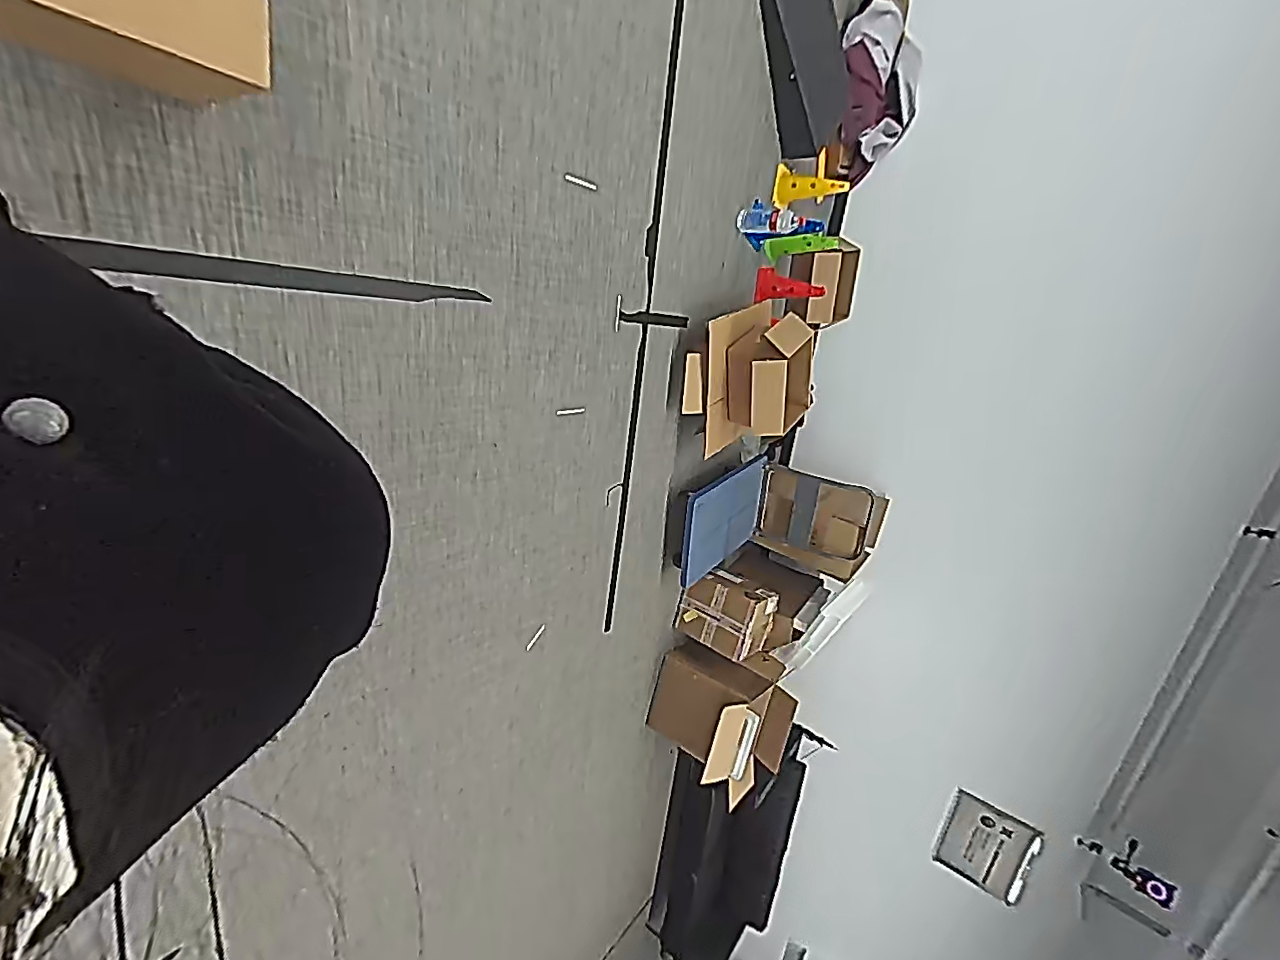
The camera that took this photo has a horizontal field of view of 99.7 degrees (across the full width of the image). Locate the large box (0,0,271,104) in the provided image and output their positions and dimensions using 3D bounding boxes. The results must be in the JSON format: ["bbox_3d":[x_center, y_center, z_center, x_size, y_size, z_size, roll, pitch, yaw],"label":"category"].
[{"bbox_3d":[-0.831,-0.808,0.782,0.408,0.320,0.320,-14,118,-53],"label":"large box"}]
